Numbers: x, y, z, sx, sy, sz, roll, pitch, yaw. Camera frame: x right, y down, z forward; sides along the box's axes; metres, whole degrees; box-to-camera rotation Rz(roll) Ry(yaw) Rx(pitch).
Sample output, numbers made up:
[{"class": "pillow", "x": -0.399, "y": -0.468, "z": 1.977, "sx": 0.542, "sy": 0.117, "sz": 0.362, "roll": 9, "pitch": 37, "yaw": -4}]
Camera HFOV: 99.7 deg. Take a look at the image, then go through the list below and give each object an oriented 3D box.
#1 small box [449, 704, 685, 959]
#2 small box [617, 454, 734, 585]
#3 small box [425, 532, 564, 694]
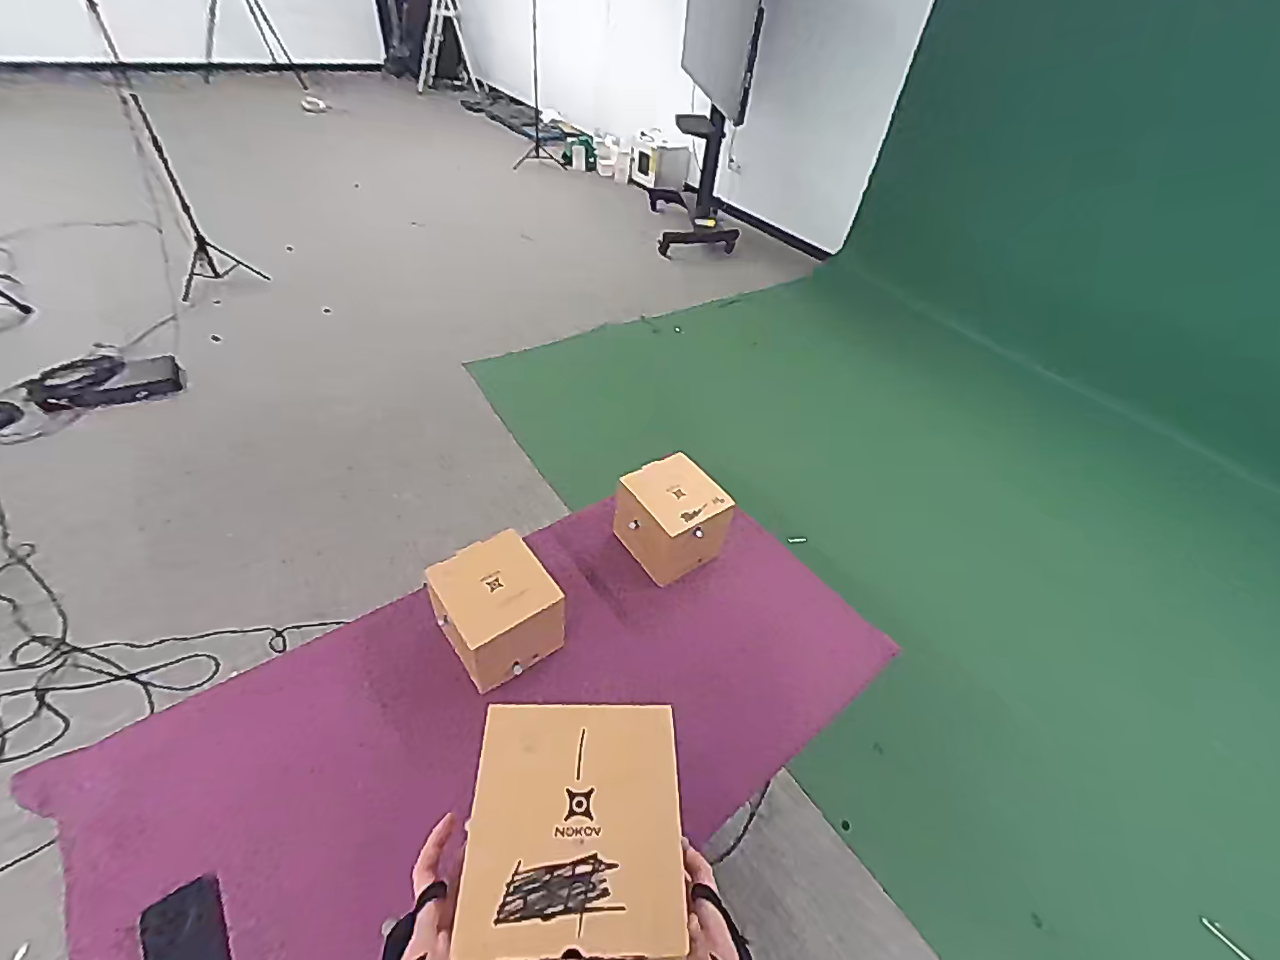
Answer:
[{"class": "small box", "x": -0.056, "y": 0.319, "z": 0.482, "sx": 0.168, "sy": 0.176, "sz": 0.179, "roll": 2, "pitch": 46, "yaw": -5}, {"class": "small box", "x": 0.063, "y": 0.080, "z": 1.116, "sx": 0.168, "sy": 0.176, "sz": 0.179, "roll": -25, "pitch": 52, "yaw": -27}, {"class": "small box", "x": -0.245, "y": 0.229, "z": 0.930, "sx": 0.168, "sy": 0.176, "sz": 0.179, "roll": -27, "pitch": 54, "yaw": -29}]
